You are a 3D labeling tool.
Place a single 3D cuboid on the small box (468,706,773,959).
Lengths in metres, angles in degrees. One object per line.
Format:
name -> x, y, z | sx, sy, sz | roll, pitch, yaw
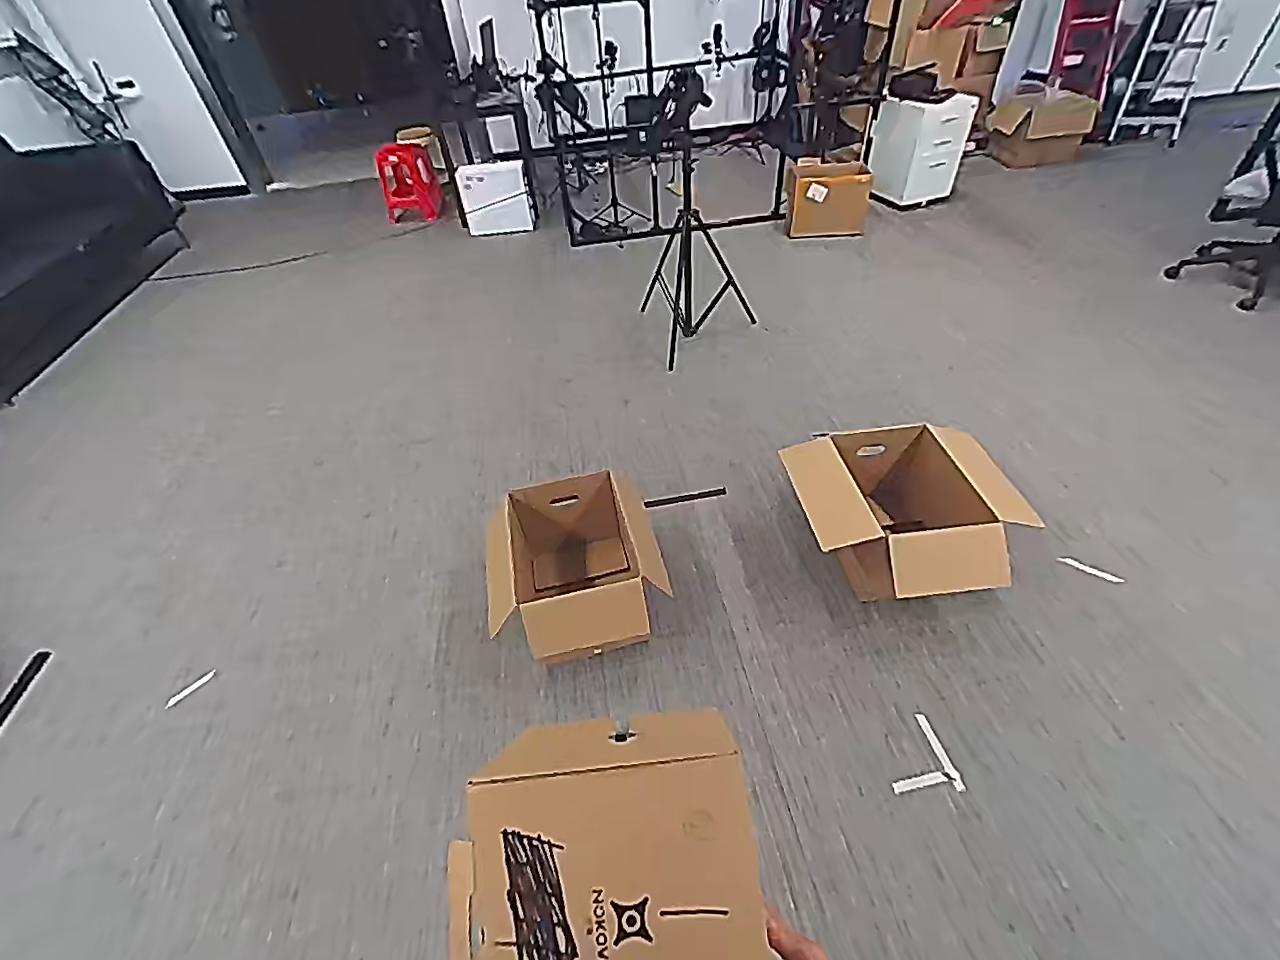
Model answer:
small box -> -0.010, 0.271, 0.395 | 0.179, 0.176, 0.168 | -7, 76, 0
